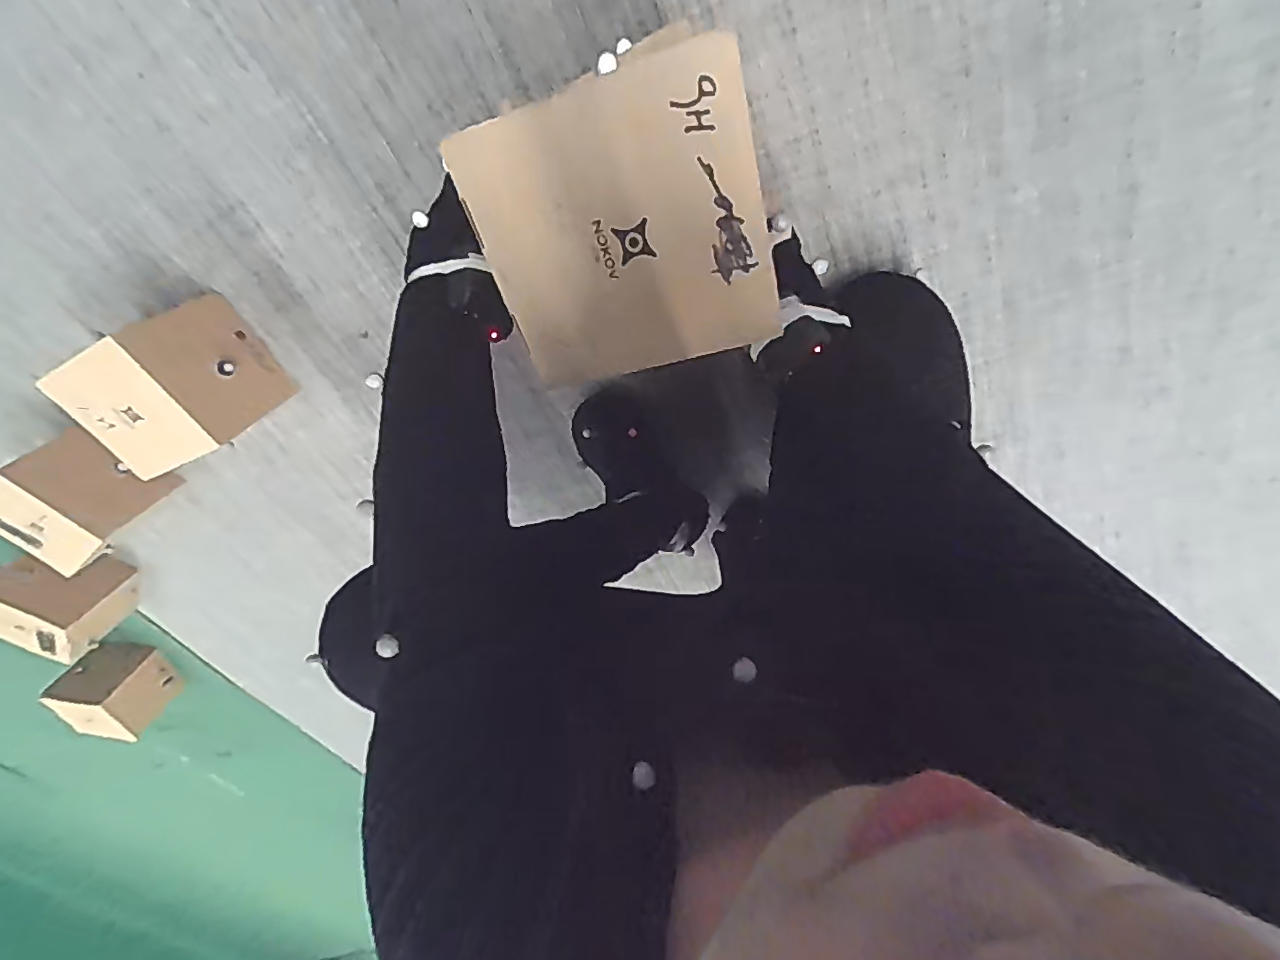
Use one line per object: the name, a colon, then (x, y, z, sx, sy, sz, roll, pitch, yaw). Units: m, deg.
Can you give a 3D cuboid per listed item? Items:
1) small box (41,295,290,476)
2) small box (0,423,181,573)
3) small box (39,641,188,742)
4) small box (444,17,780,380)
small box: (-0.641, -0.136, 0.760, 0.179, 0.176, 0.168, -16, 121, 20)
small box: (-0.959, 0.025, 0.936, 0.179, 0.176, 0.168, -28, 117, 26)
small box: (-1.326, 0.533, 1.378, 0.179, 0.176, 0.168, 4, 127, 7)
small box: (0.000, -0.197, 0.396, 0.179, 0.176, 0.168, -10, 124, 17)
